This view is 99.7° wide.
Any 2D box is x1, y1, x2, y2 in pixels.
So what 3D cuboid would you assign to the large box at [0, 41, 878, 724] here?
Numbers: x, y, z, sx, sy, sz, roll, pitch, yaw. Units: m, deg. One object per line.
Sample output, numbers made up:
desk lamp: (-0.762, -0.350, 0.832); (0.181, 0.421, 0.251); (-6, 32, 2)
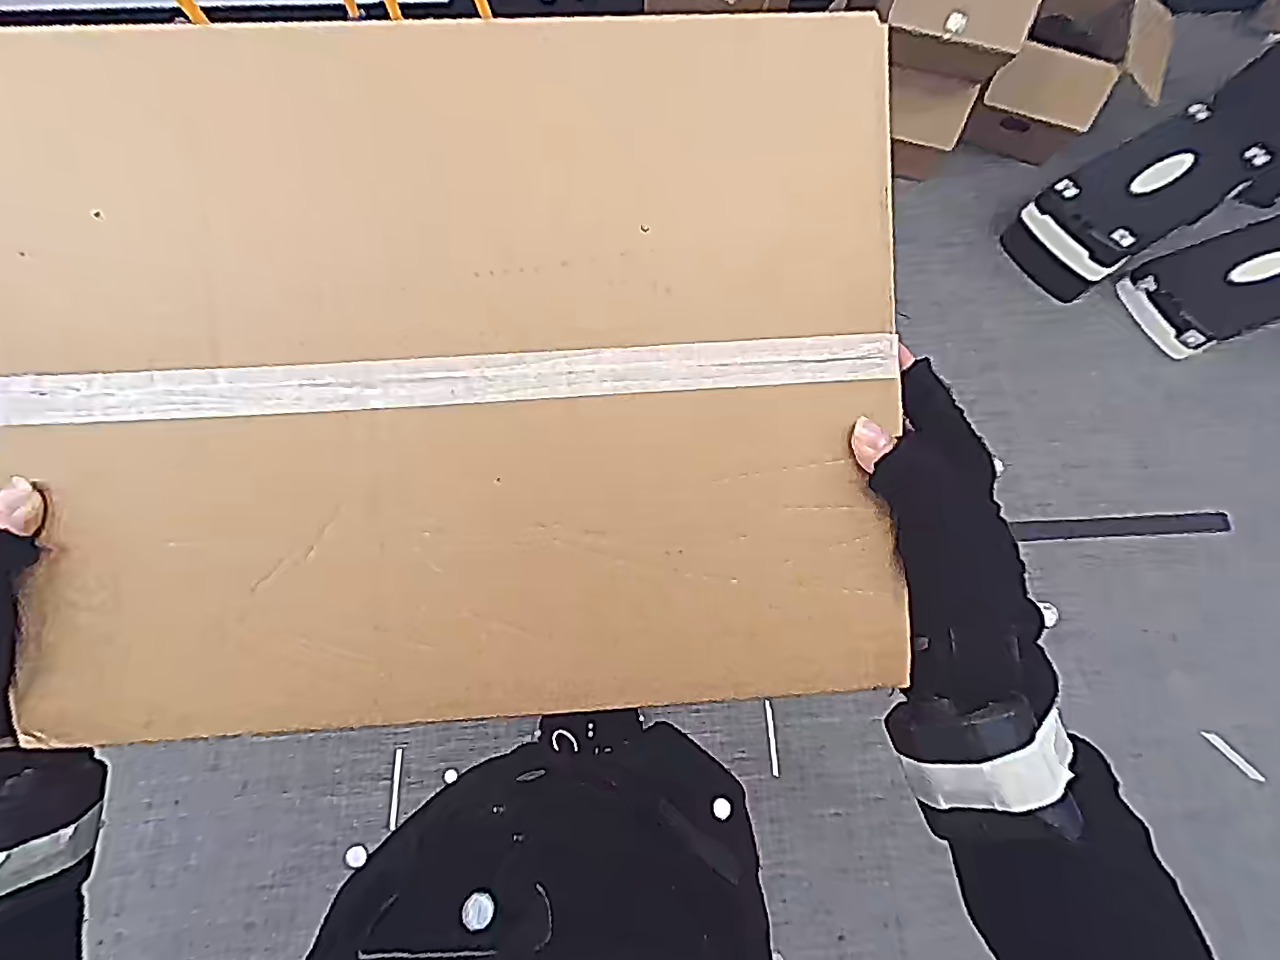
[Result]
large box: (-0.089, -0.054, 0.406); (0.408, 0.320, 0.320); (-3, 92, -3)
